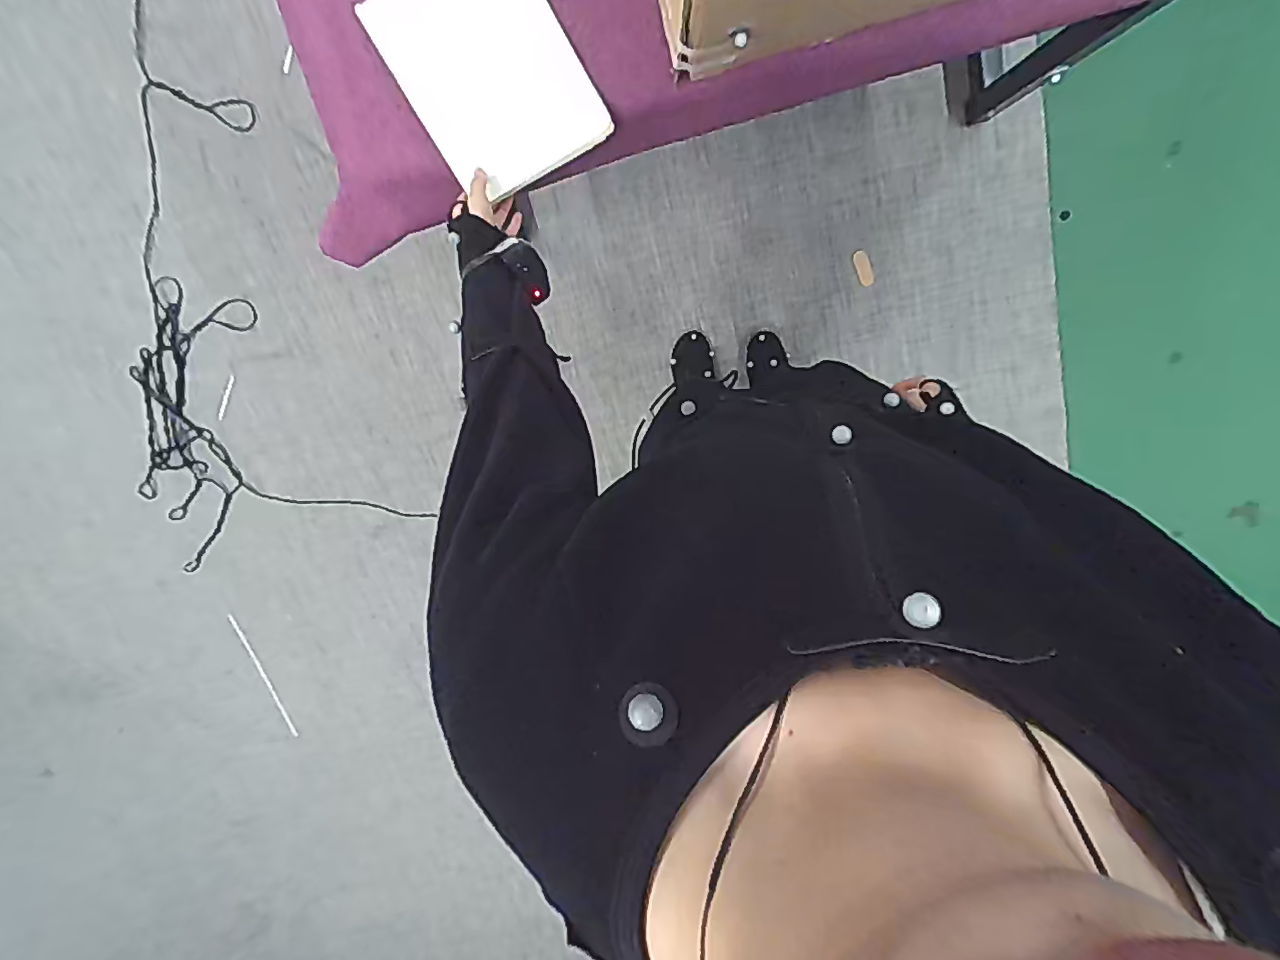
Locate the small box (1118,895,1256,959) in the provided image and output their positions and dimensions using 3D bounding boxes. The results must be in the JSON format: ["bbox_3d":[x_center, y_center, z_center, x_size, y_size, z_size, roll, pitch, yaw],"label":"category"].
[{"bbox_3d":[1.217,1.062,1.188,0.179,0.176,0.168,-21,103,8],"label":"small box"}]

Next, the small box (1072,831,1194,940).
[{"bbox_3d":[1.224,1.013,1.342,0.168,0.176,0.179,-23,102,8],"label":"small box"}]
